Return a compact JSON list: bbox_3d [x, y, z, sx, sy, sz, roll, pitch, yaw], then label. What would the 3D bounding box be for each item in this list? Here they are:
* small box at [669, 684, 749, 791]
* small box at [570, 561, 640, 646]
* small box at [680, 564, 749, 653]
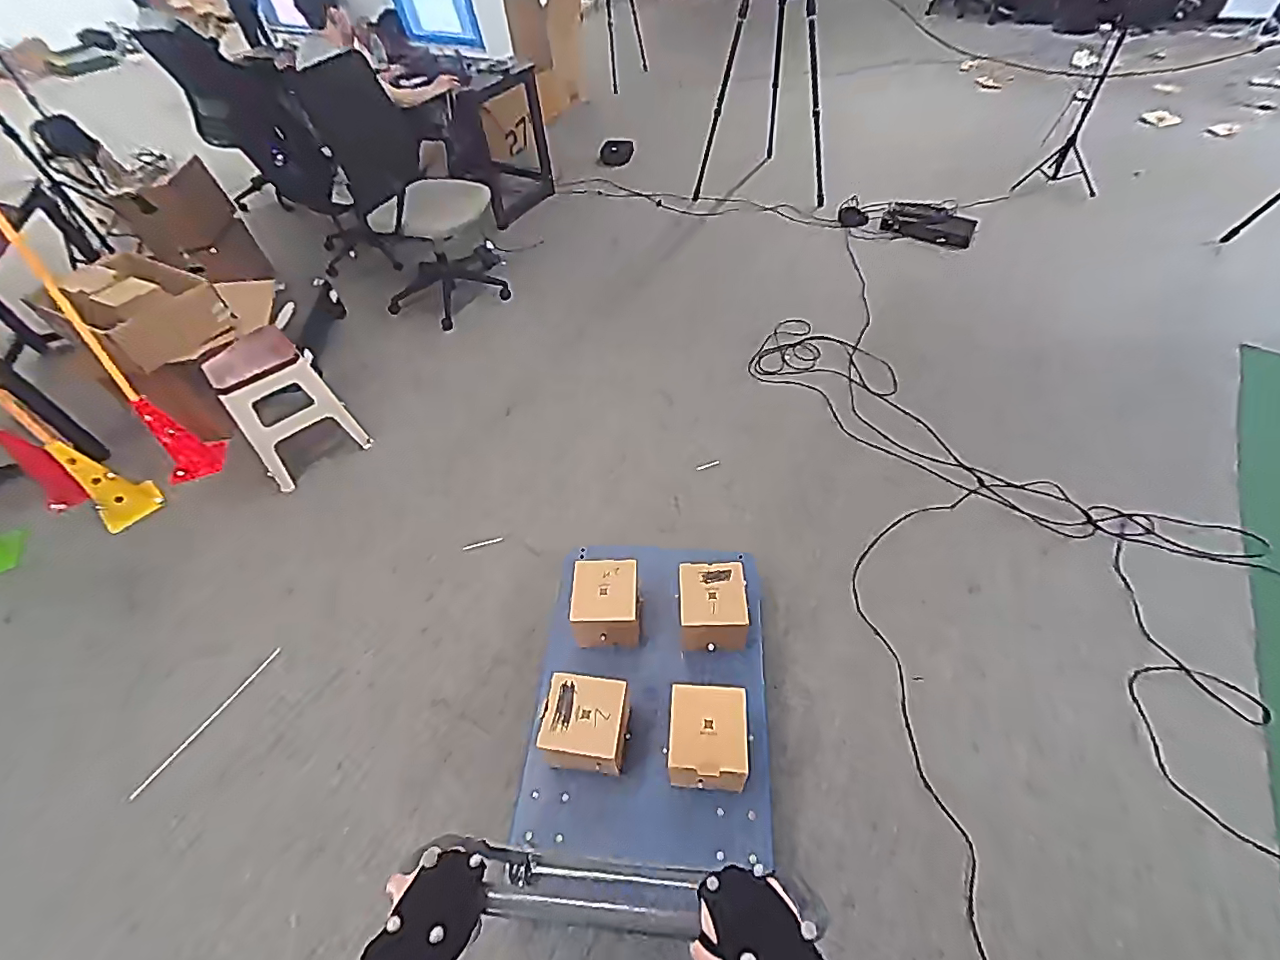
[{"bbox_3d":[0.152,0.584,1.223,0.168,0.176,0.179,2,51,5],"label":"small box"},{"bbox_3d":[-0.086,0.332,1.443,0.168,0.176,0.179,-1,50,3],"label":"small box"},{"bbox_3d":[0.189,0.337,1.420,0.168,0.176,0.179,-1,52,4],"label":"small box"}]
